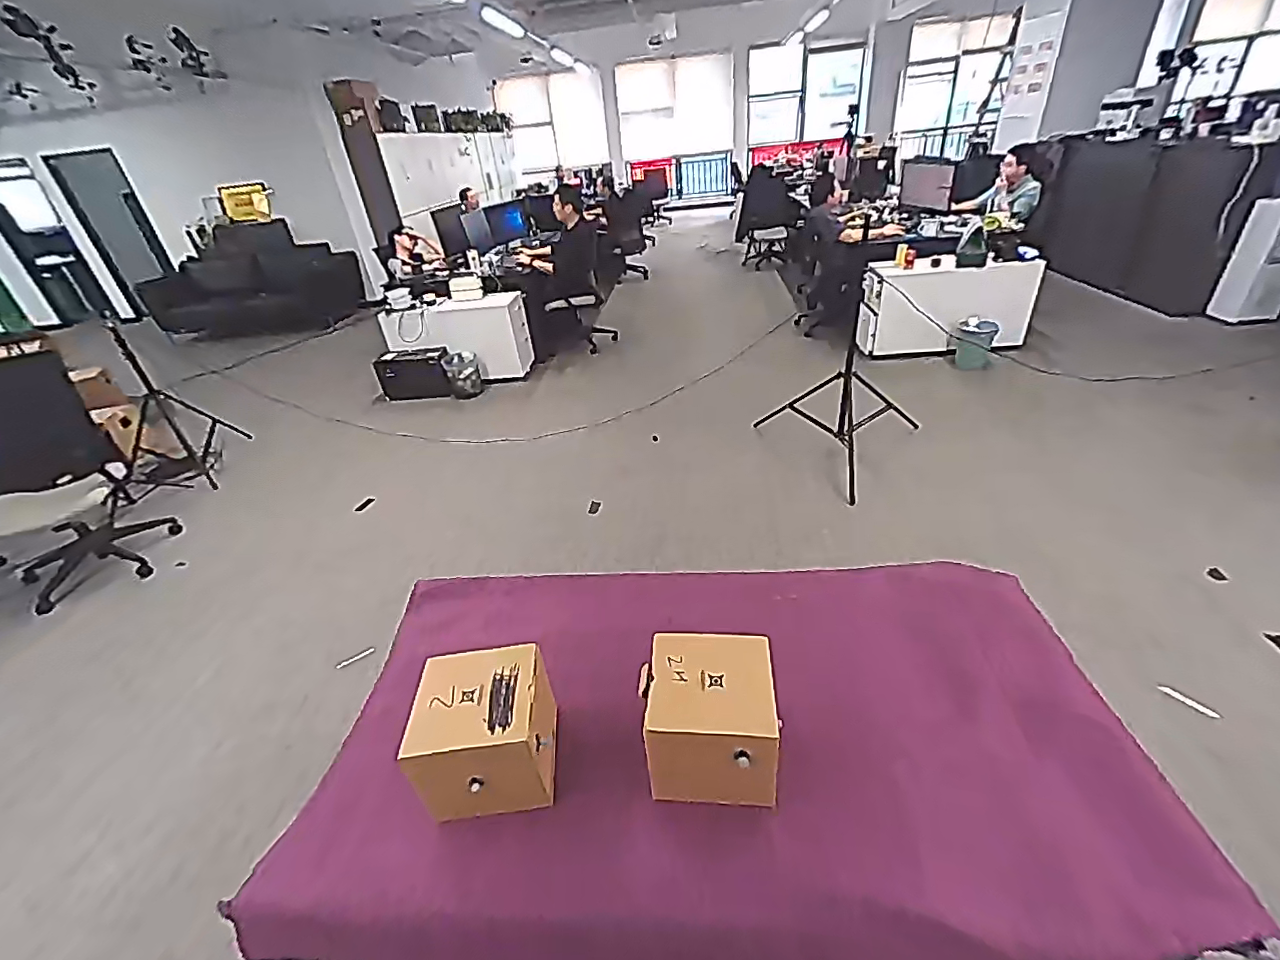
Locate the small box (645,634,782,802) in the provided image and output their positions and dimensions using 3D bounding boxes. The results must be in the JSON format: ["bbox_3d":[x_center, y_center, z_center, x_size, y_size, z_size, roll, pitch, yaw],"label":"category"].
[{"bbox_3d":[0.109,0.350,0.799,0.179,0.176,0.168,-2,32,8],"label":"small box"}]
